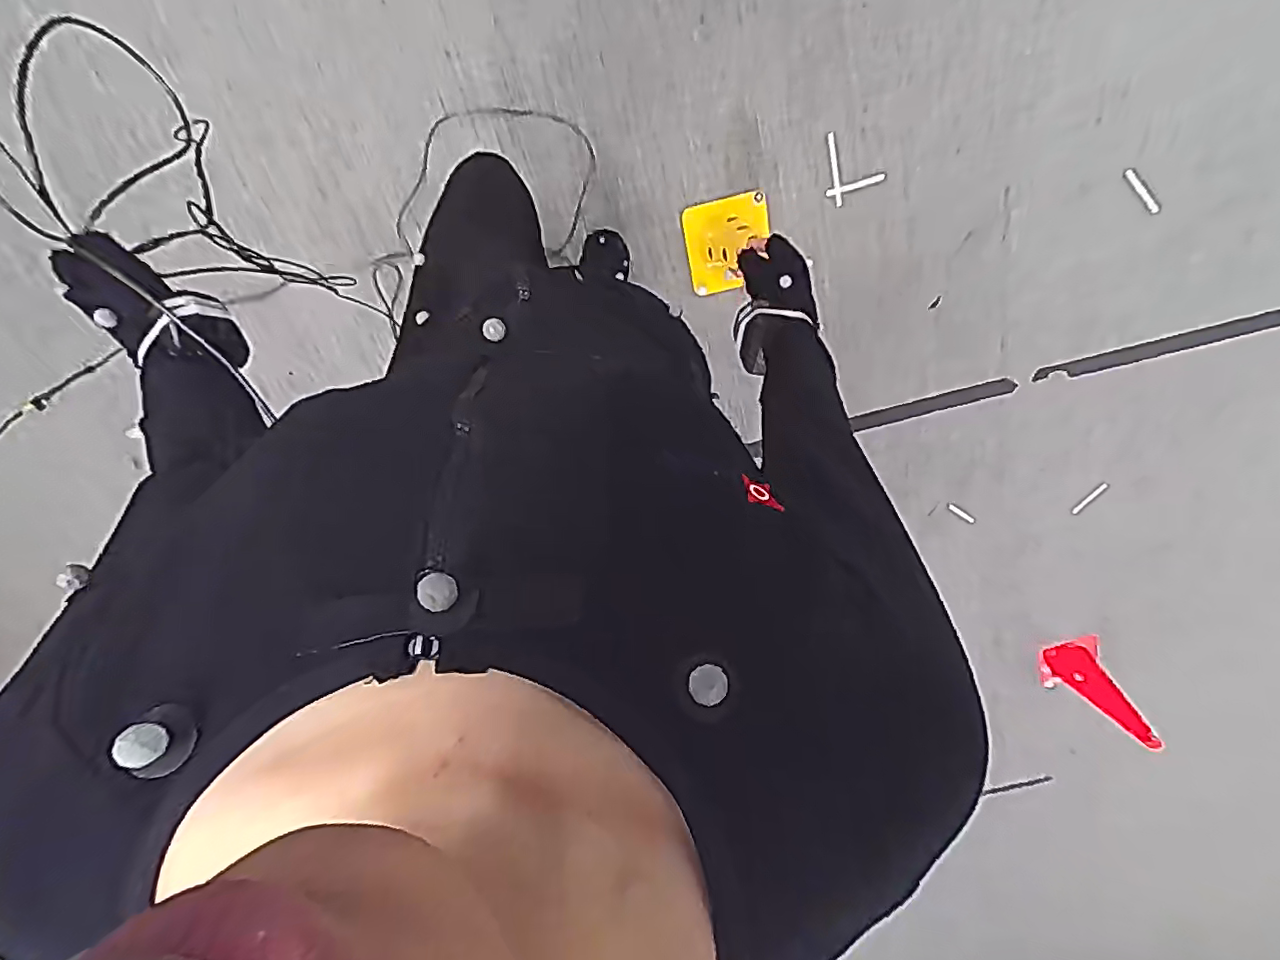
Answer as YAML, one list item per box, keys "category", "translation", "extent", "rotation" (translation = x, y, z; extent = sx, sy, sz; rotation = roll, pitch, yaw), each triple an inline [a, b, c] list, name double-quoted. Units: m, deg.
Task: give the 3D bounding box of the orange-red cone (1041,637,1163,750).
- category: "orange-red cone"
  translation: [1.570, 0.734, 1.807]
  extent: [0.199, 0.360, 0.198]
  rotation: [-19, 116, 5]
